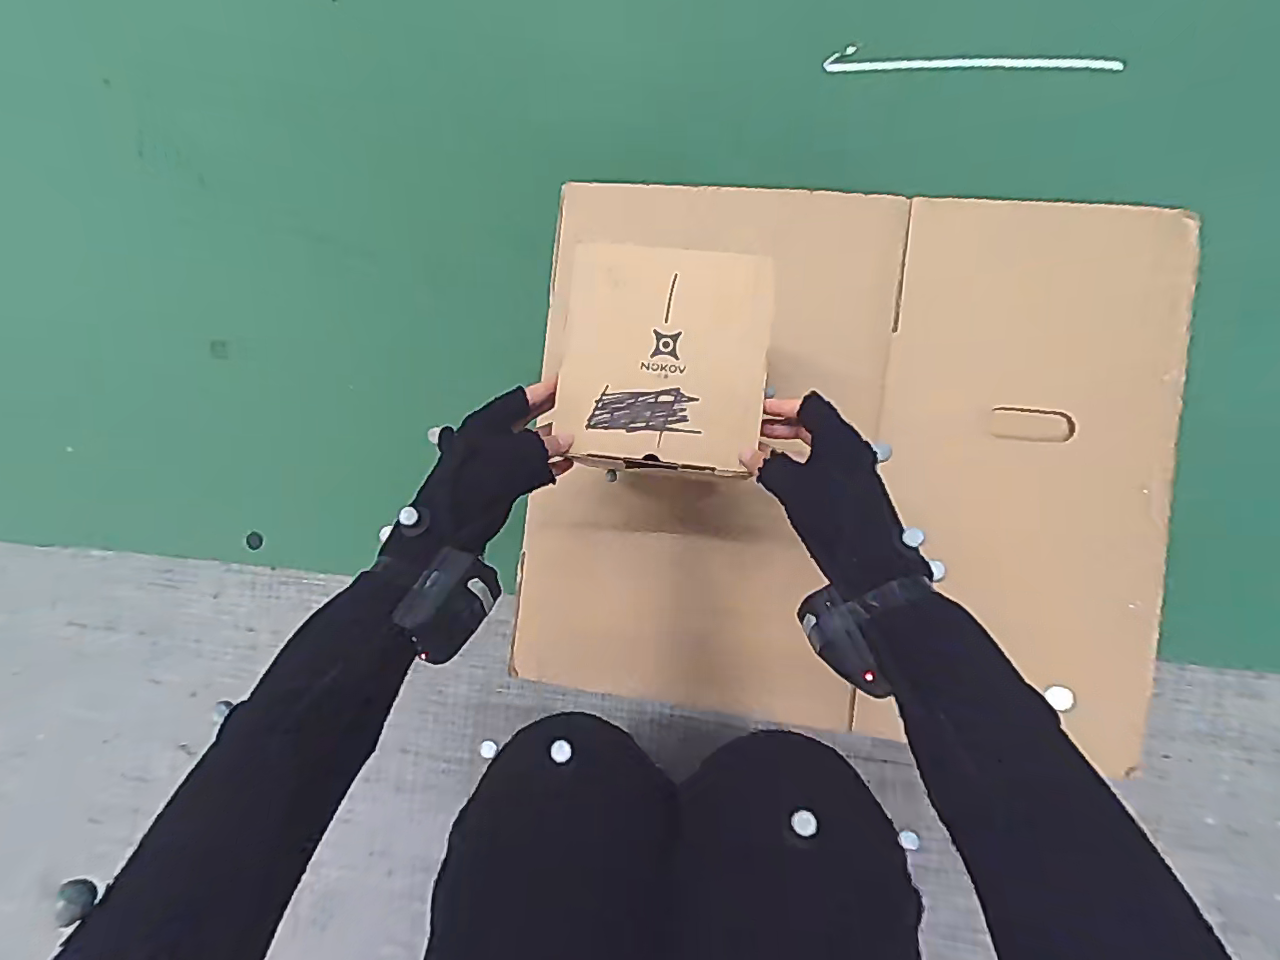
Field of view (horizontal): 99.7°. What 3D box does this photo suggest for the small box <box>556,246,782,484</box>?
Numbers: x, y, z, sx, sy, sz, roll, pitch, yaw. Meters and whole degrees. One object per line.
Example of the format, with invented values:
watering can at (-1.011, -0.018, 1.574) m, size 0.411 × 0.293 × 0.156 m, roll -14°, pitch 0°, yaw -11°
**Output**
small box at (0.030, -0.093, 0.513) m, size 0.168 × 0.176 × 0.179 m, roll 7°, pitch 87°, yaw 6°
